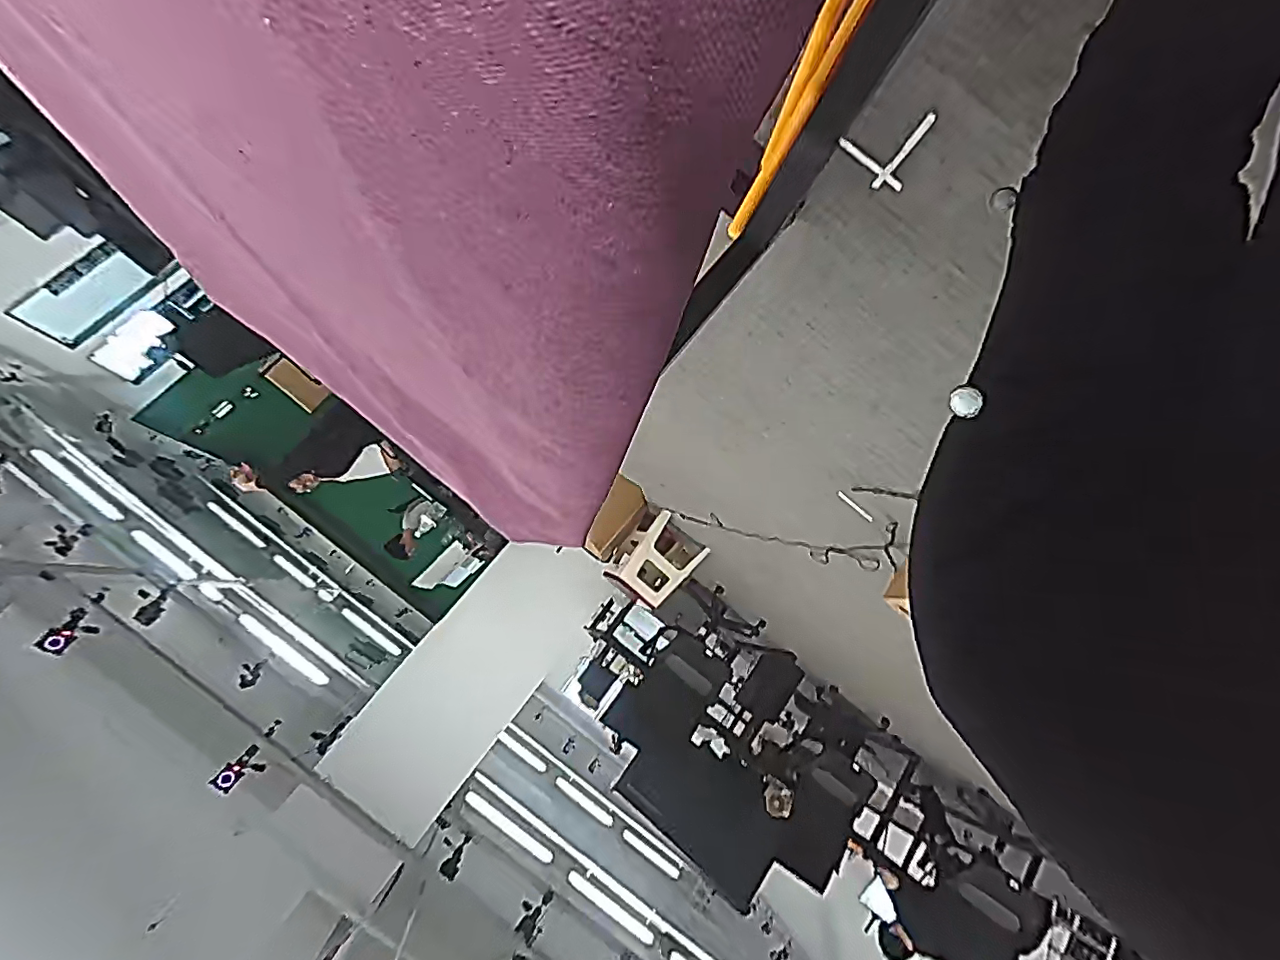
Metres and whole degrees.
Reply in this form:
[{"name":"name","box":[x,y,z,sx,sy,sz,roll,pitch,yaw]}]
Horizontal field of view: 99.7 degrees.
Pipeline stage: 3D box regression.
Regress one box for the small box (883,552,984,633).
[{"name":"small box","box":[0.877,0.334,1.615,0.168,0.176,0.179,38,163,0]}]
